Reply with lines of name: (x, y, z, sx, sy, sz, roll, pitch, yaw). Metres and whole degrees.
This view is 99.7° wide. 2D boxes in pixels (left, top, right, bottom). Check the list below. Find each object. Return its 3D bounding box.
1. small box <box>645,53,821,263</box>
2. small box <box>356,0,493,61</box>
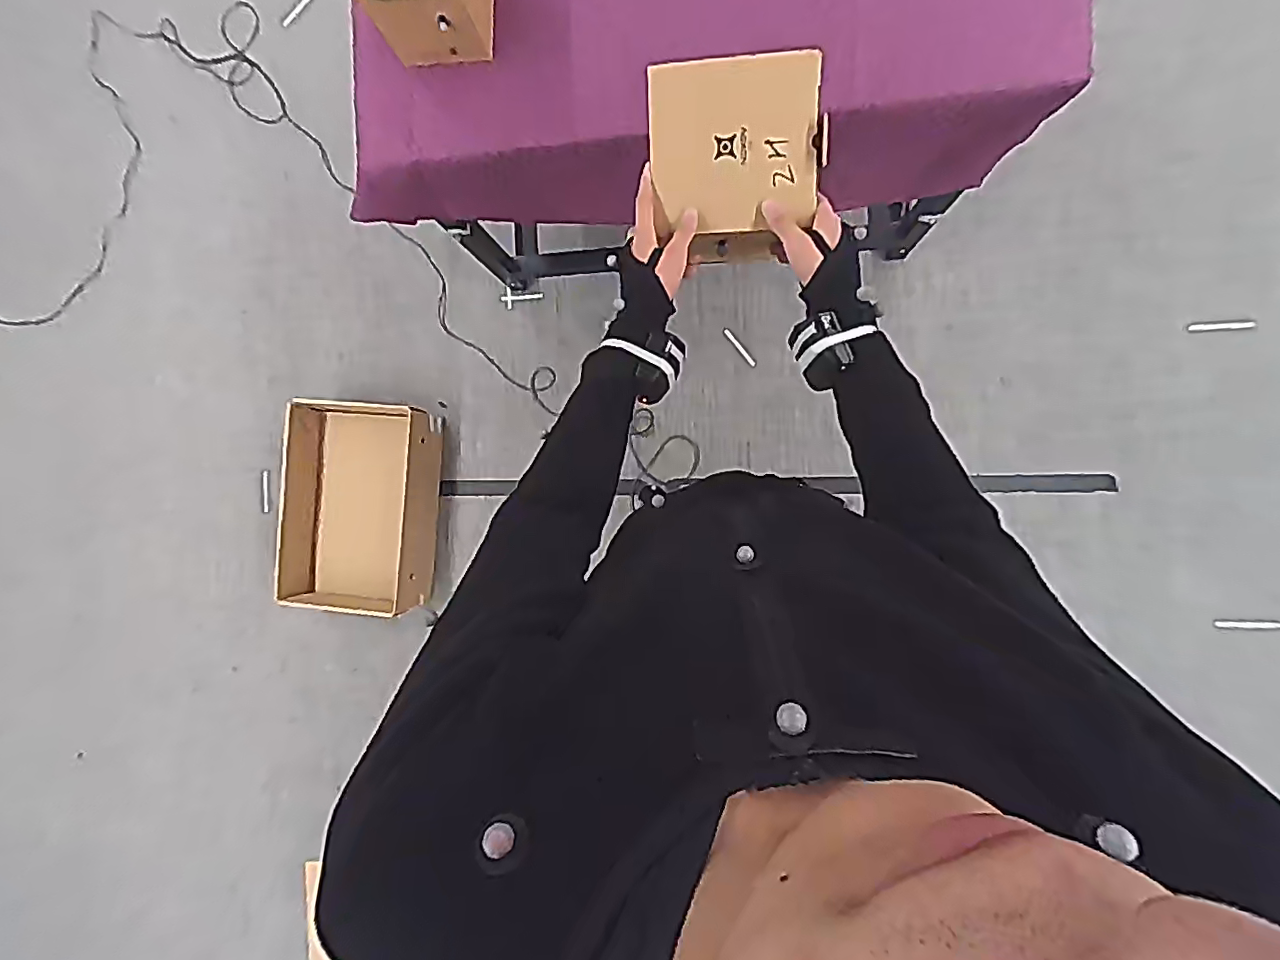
small box: (0.102, -0.358, 0.635, 0.179, 0.176, 0.168, -1, 103, 5)
small box: (-0.348, -0.824, 0.881, 0.168, 0.176, 0.179, 3, 90, 6)
